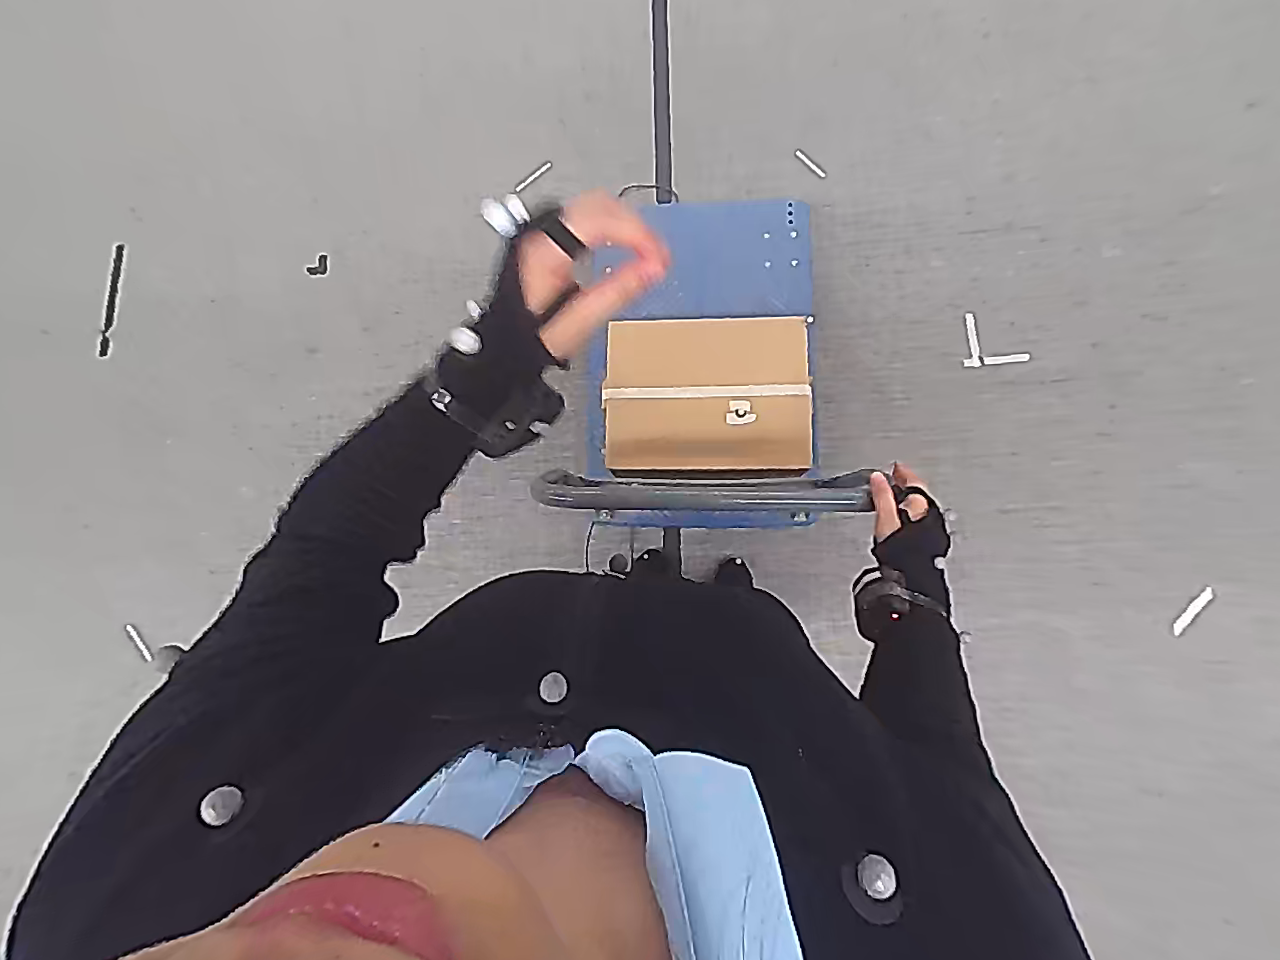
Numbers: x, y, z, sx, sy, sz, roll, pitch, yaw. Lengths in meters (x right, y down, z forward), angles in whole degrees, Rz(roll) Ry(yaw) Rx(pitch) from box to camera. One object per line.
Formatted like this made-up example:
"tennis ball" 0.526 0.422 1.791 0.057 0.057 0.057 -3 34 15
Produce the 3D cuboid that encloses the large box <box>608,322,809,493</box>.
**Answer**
"large box" 0.141 -0.144 1.235 0.408 0.320 0.320 0 82 4
